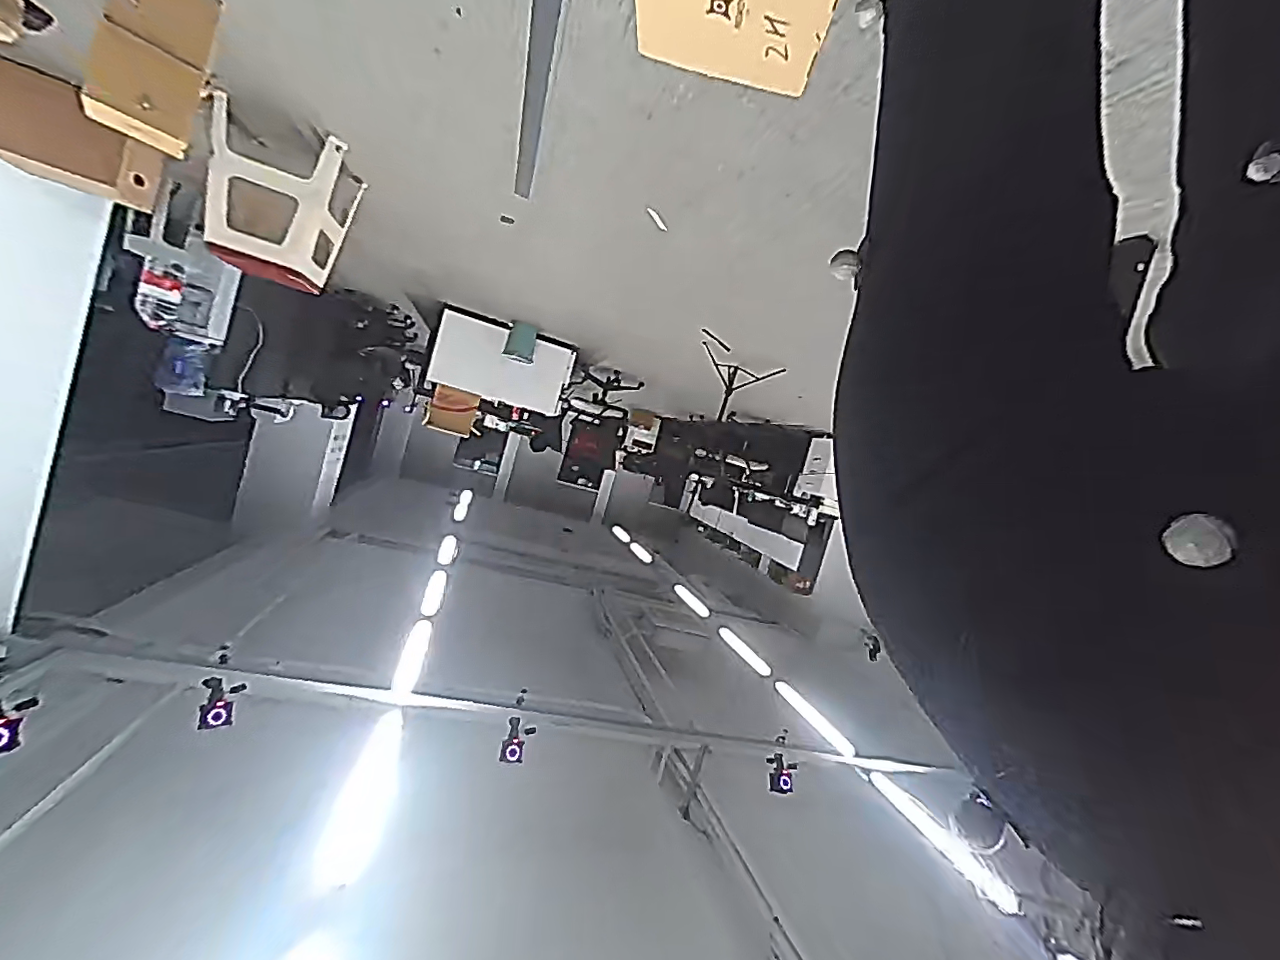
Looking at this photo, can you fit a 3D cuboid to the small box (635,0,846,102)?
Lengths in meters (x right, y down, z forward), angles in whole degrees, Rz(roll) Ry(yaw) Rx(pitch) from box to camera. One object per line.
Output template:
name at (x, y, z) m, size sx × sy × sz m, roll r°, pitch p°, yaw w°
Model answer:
small box at (0.101, -0.487, 0.474) m, size 0.179 × 0.176 × 0.168 m, roll 14°, pitch -176°, yaw -2°
